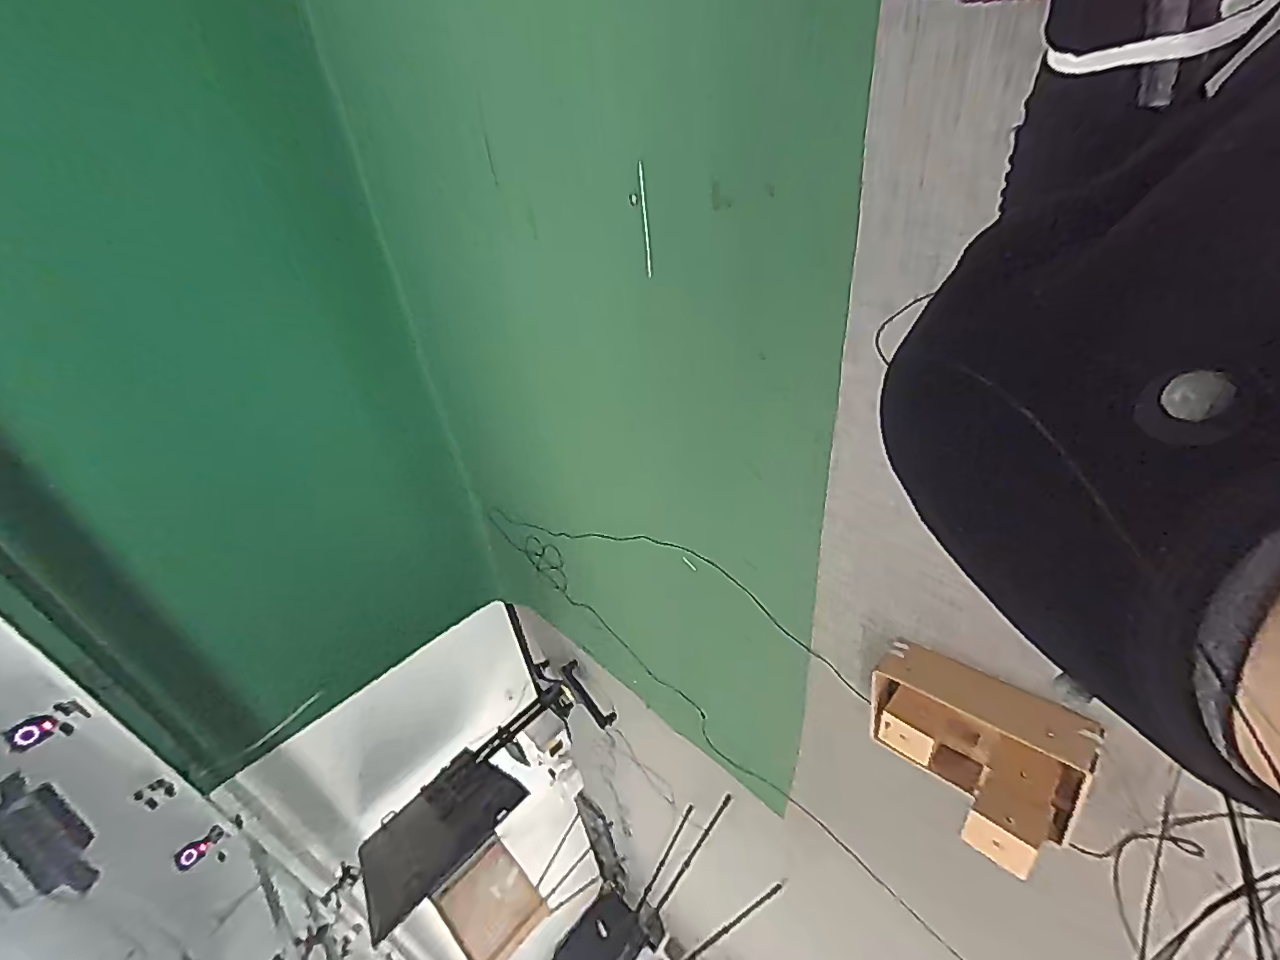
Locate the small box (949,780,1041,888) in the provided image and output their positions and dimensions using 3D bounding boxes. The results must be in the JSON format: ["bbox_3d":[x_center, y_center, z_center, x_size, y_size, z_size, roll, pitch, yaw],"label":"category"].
[{"bbox_3d":[1.067,1.054,1.624,0.179,0.176,0.168,24,131,41],"label":"small box"}]

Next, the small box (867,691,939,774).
[{"bbox_3d":[0.945,0.896,1.937,0.179,0.176,0.168,23,132,39],"label":"small box"}]
